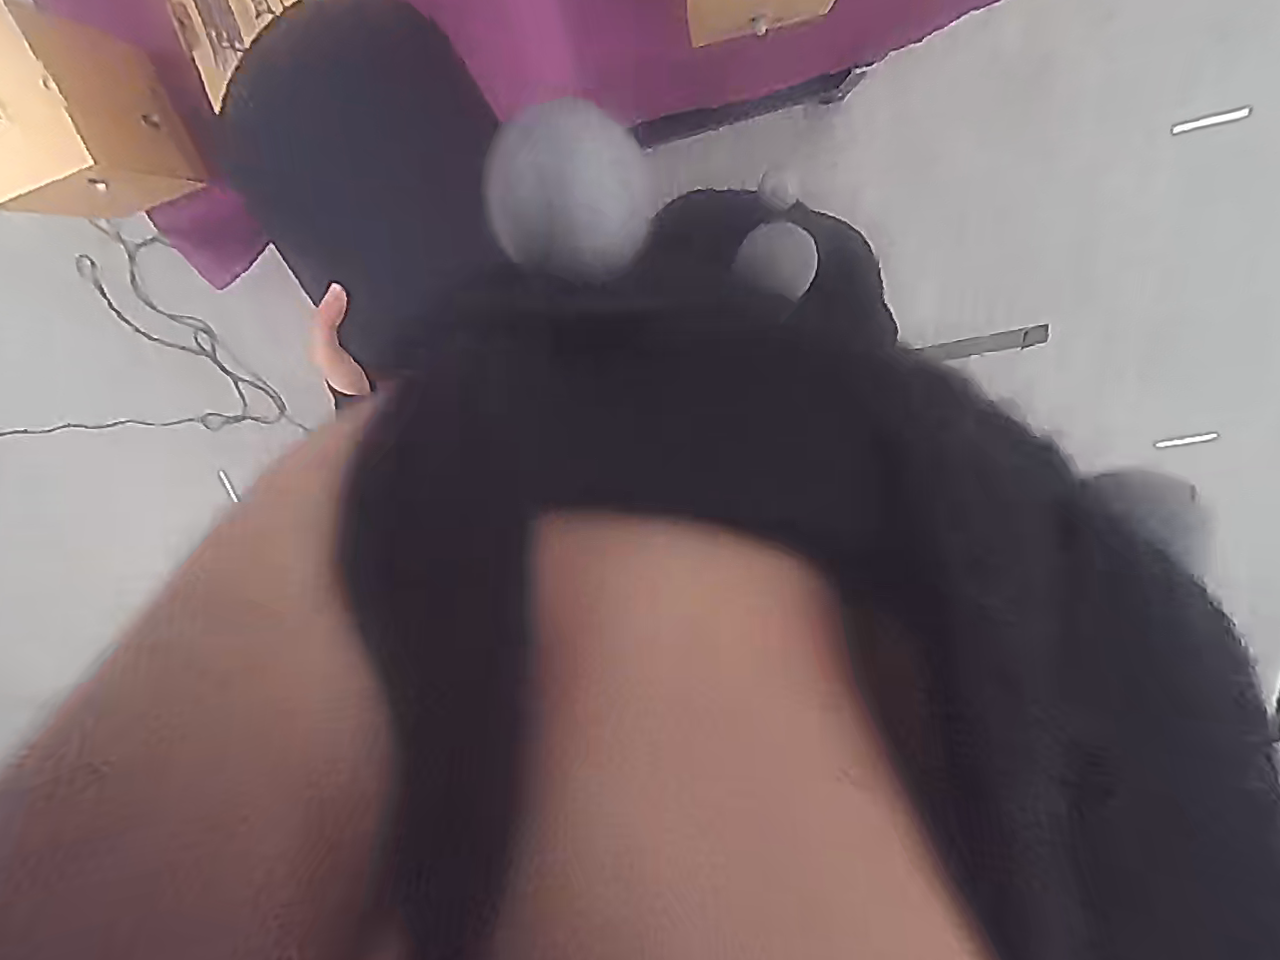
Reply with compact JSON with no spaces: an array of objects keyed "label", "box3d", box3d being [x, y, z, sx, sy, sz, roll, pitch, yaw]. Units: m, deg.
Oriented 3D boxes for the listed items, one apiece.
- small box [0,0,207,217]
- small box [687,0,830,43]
[{"label":"small box","box3d":[-0.719,-0.447,0.684,0.179,0.176,0.168,-14,110,9]},{"label":"small box","box3d":[0.123,-0.594,0.549,0.168,0.176,0.179,-8,112,8]}]
